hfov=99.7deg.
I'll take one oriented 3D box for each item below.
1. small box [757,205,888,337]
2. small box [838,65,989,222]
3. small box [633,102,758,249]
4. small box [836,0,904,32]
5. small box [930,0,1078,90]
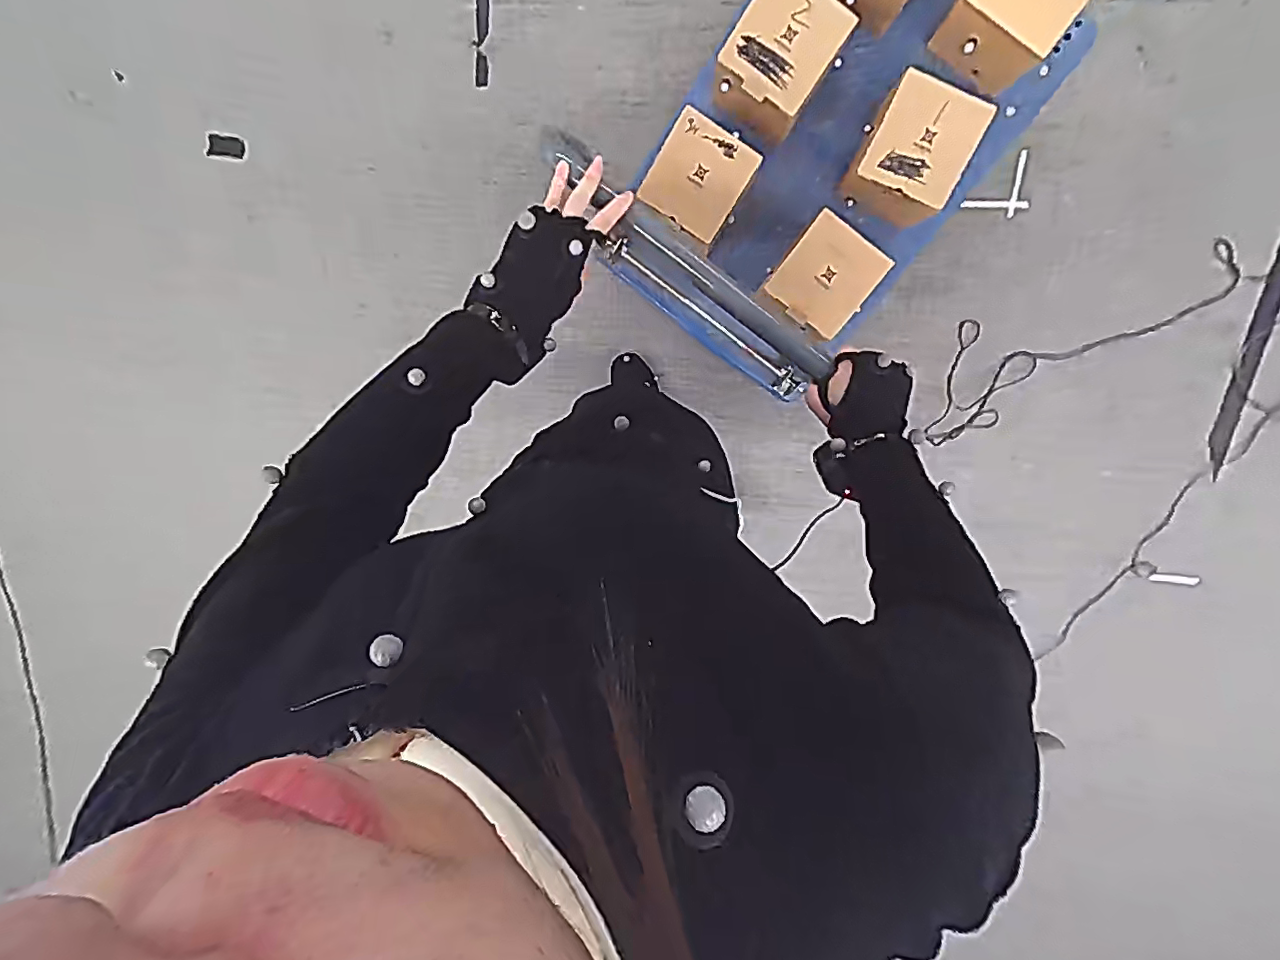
[{"bbox_3d":[0.351,-0.406,1.082,0.168,0.176,0.179,37,106,-5],"label":"small box"},{"bbox_3d":[0.491,-0.610,1.008,0.168,0.176,0.179,25,106,-1],"label":"small box"},{"bbox_3d":[0.109,-0.578,1.058,0.168,0.176,0.179,33,107,-4],"label":"small box"},{"bbox_3d":[0.429,-0.935,0.921,0.168,0.176,0.179,38,107,-5],"label":"small box"},{"bbox_3d":[0.638,-0.827,0.932,0.168,0.176,0.179,34,106,-4],"label":"small box"}]
